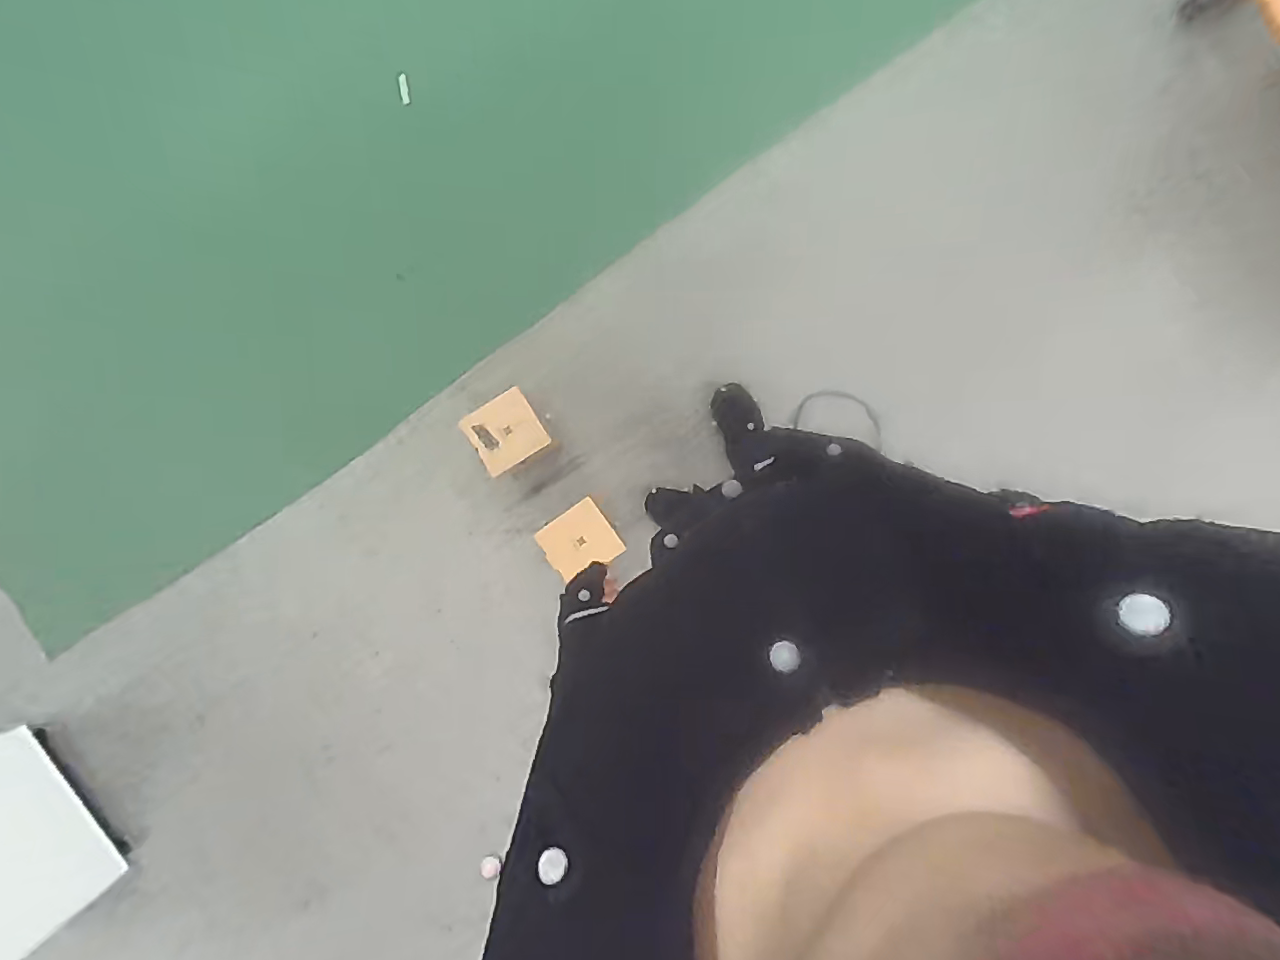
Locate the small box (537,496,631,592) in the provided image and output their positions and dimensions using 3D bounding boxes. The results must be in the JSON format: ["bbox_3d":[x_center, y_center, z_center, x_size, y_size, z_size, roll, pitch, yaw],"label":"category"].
[{"bbox_3d":[-0.138,0.156,1.399,0.179,0.176,0.168,-36,91,3],"label":"small box"}]

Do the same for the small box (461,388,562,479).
[{"bbox_3d":[-0.322,-0.114,1.390,0.179,0.176,0.168,-32,92,1],"label":"small box"}]
